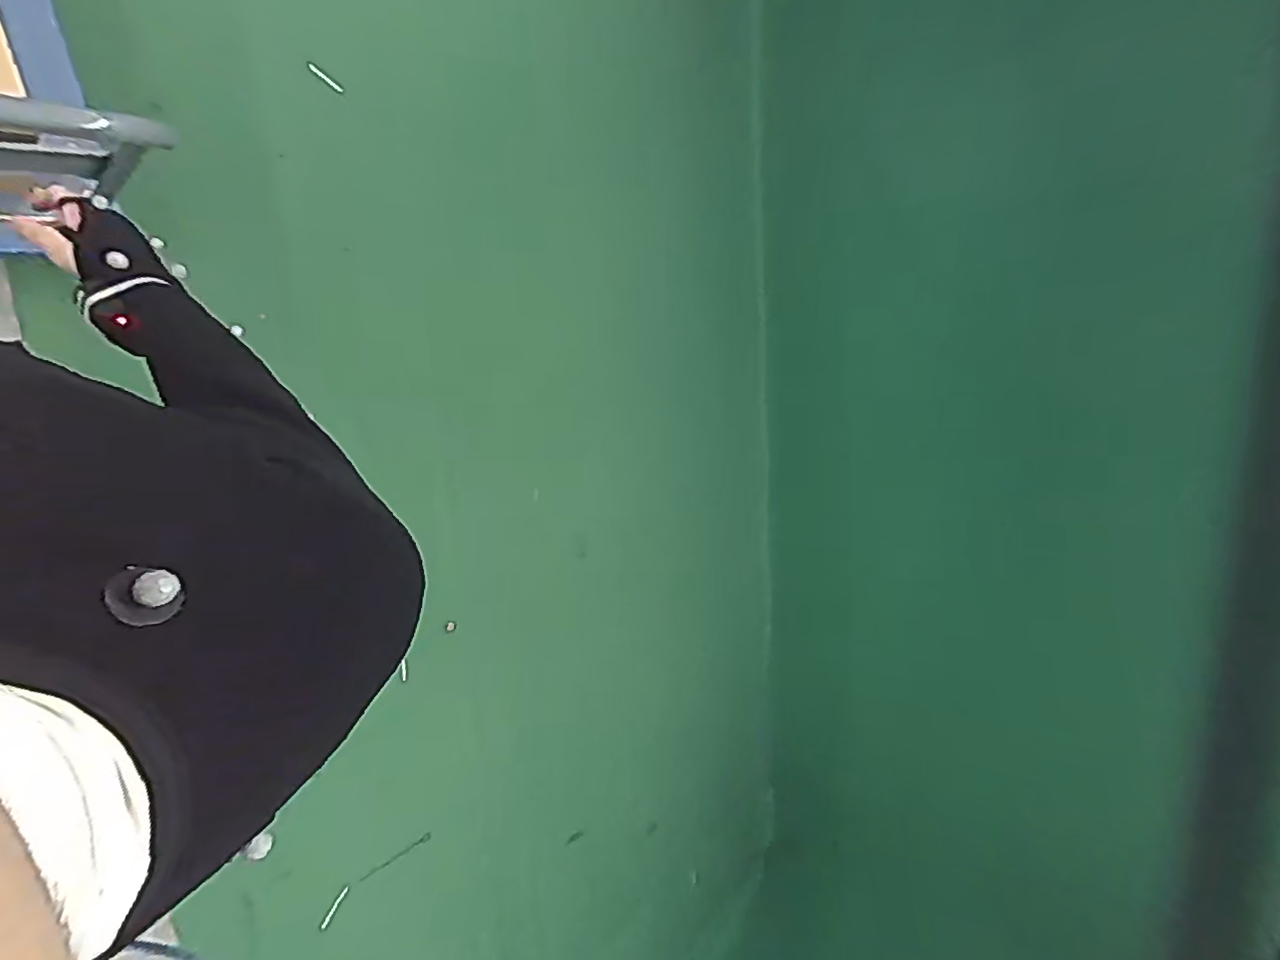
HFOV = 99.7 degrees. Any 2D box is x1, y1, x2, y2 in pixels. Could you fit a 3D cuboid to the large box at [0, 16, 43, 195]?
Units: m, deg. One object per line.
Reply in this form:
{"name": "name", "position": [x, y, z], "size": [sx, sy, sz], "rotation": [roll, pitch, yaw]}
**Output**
{"name": "large box", "position": [-1.112, -0.653, 0.733], "size": [0.320, 0.320, 0.408], "rotation": [-24, 110, -46]}
